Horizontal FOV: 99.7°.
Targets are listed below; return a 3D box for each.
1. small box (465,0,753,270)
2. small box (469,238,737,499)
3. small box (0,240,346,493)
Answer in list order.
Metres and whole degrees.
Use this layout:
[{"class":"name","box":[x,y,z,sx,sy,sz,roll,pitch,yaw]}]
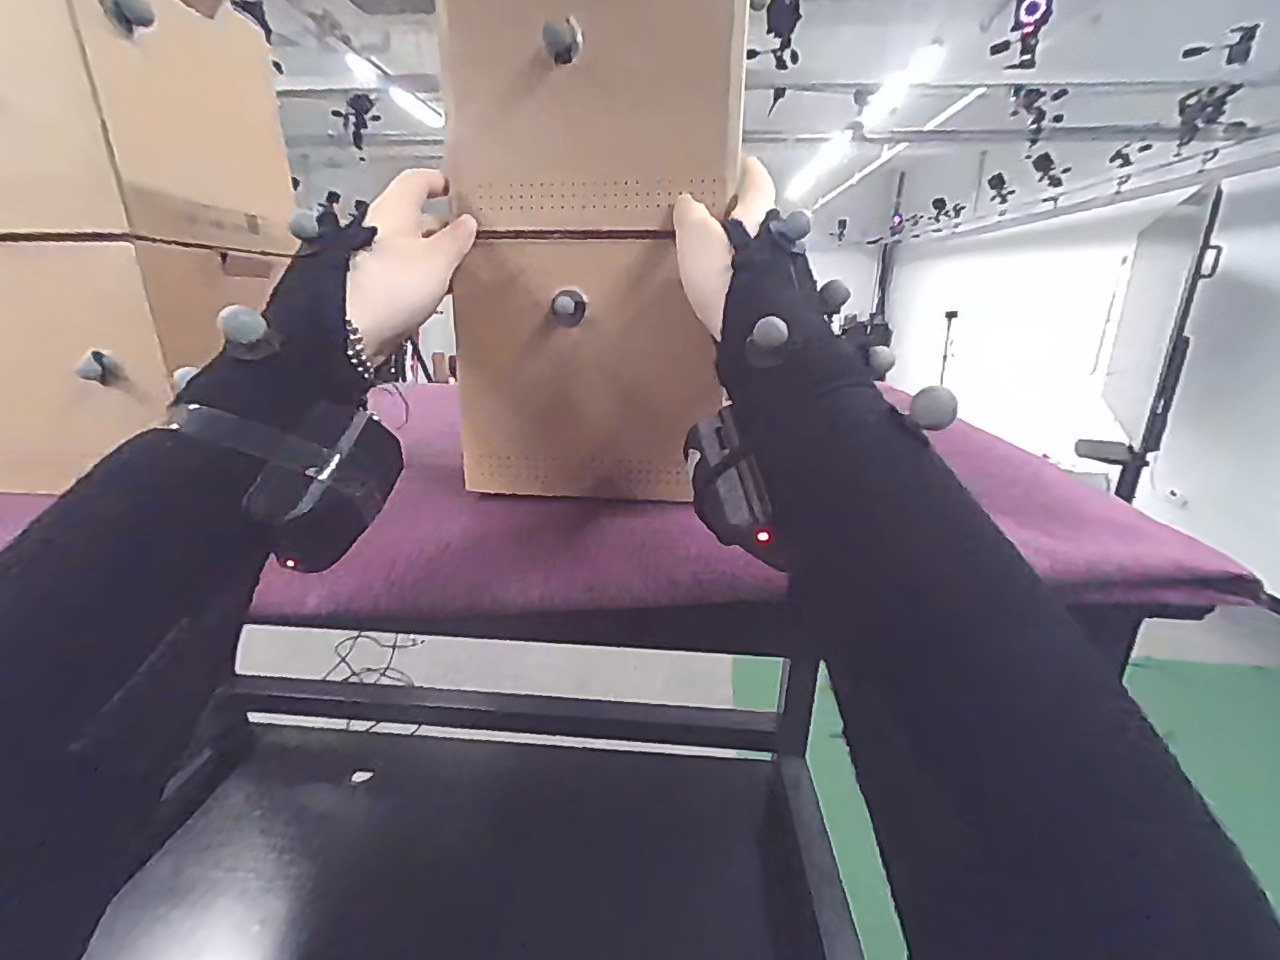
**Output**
[{"class":"small box","box":[-0.013,-0.246,0.392,0.179,0.176,0.168,2,15,6]},{"class":"small box","box":[-0.019,-0.086,0.434,0.179,0.176,0.168,4,15,5]},{"class":"small box","box":[-0.369,-0.091,0.435,0.179,0.176,0.168,1,17,3]}]
